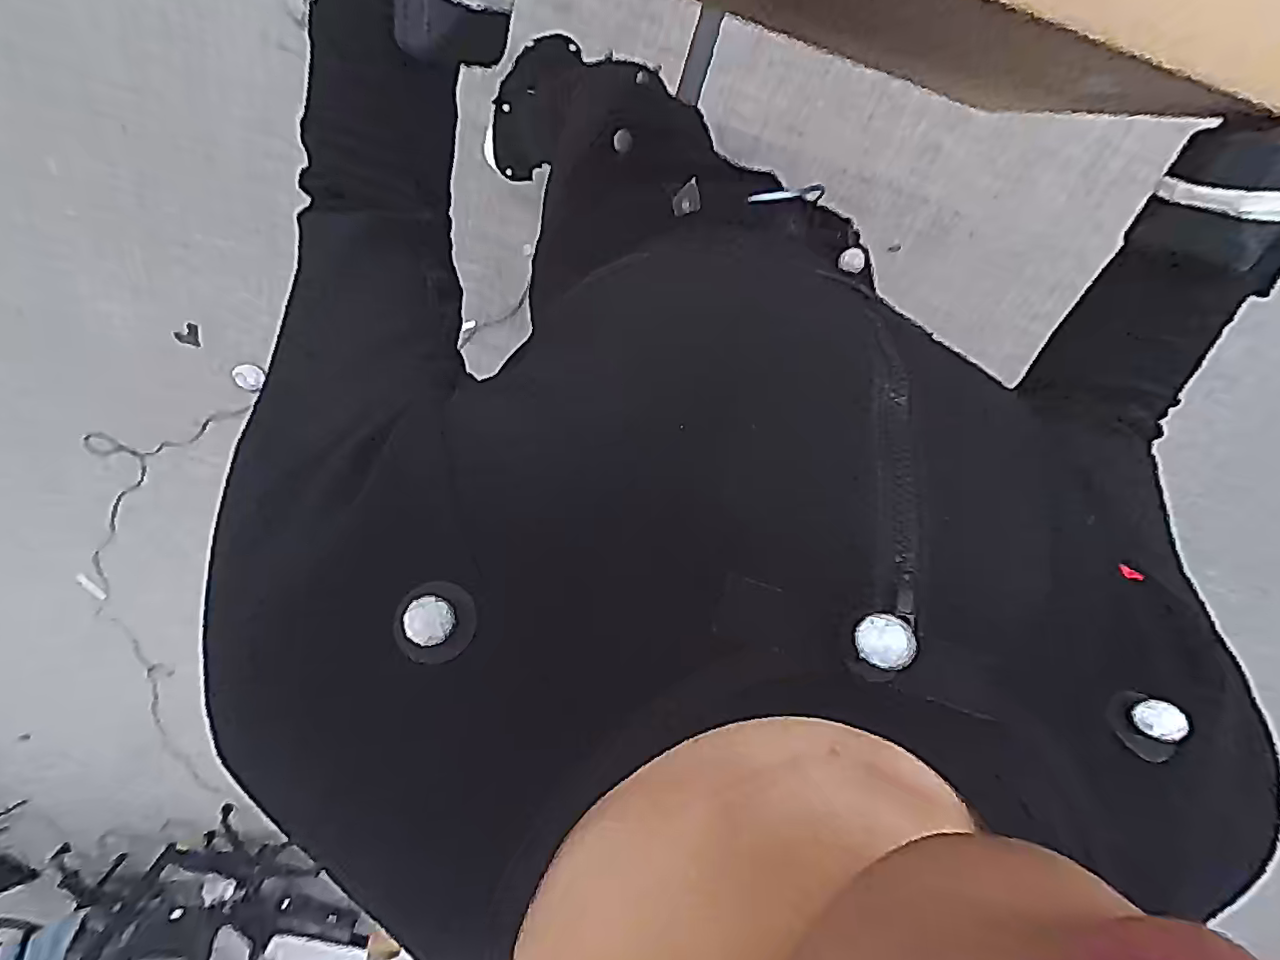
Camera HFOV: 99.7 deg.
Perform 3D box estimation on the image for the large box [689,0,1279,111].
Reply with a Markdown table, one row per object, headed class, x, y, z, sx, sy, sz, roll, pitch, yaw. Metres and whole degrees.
| class | x | y | z | sx | sy | sz | roll | pitch | yaw |
| --- | --- | --- | --- | --- | --- | --- | --- | --- | --- |
| large box | 0.168 | -0.430 | 0.277 | 0.408 | 0.320 | 0.320 | 14 | 126 | -8 |
